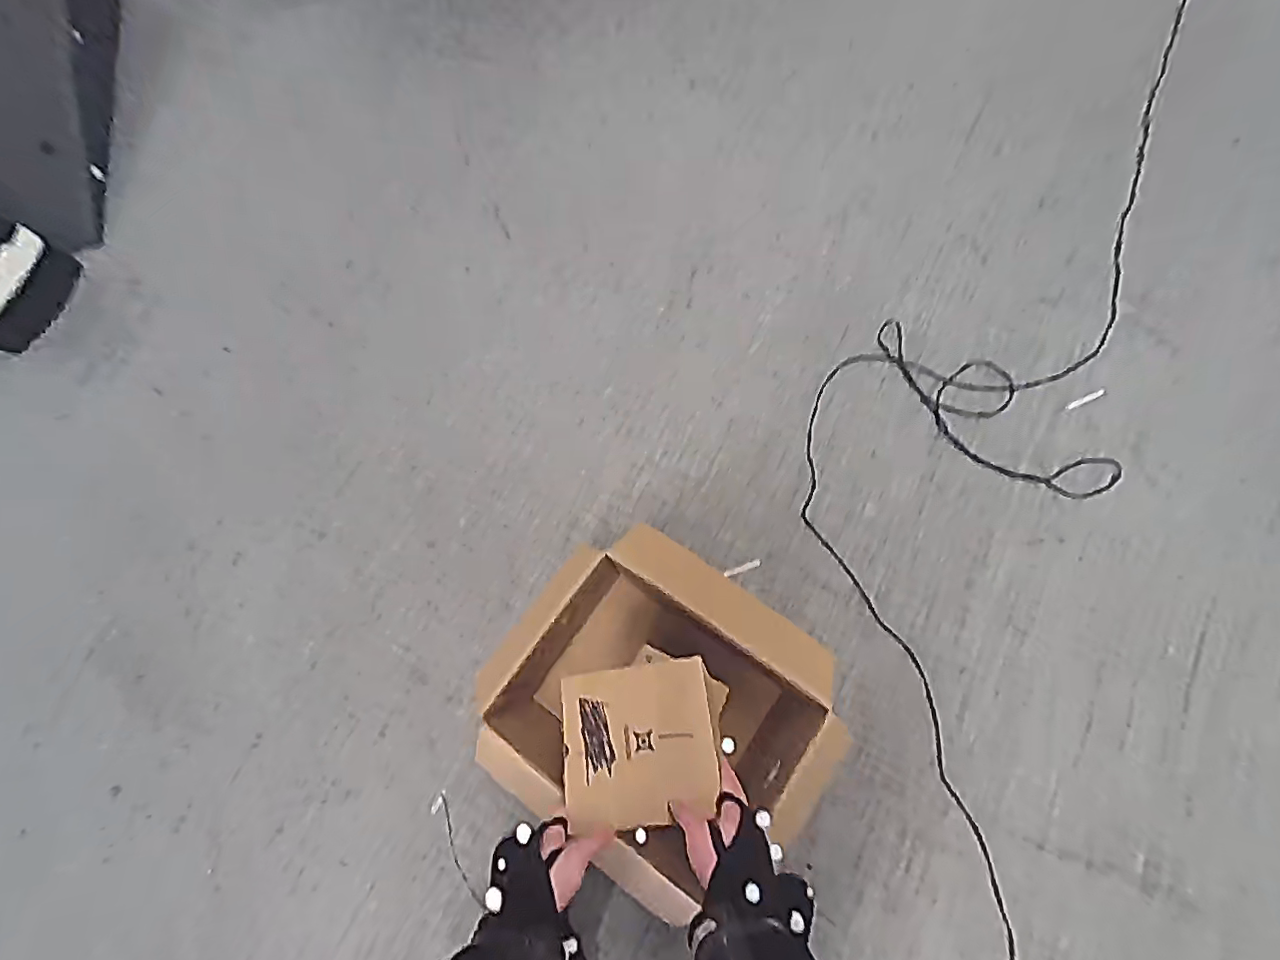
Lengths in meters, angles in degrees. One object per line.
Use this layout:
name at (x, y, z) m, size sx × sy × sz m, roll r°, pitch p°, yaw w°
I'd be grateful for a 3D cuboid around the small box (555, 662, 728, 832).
small box at (0.007, 0.331, 0.666) m, size 0.179 × 0.176 × 0.168 m, roll -9°, pitch 60°, yaw 8°
